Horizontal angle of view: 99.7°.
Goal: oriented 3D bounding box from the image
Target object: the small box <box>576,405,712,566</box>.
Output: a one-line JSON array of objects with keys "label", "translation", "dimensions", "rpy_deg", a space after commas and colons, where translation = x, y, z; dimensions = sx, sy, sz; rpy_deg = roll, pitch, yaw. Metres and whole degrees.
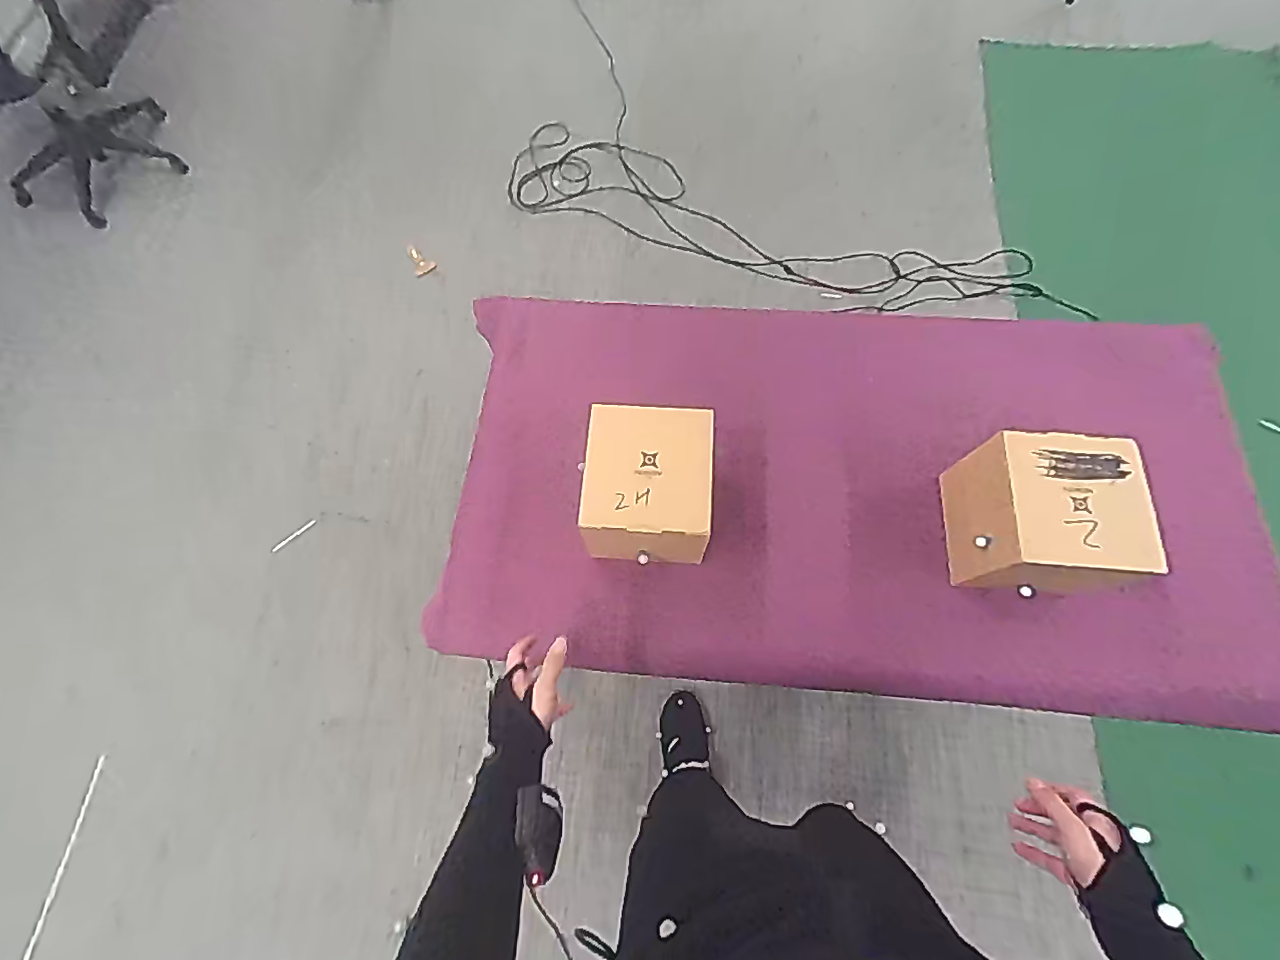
[{"label": "small box", "translation": [0.010, 0.013, 0.772], "dimensions": [0.168, 0.176, 0.179], "rpy_deg": [3, 69, 4]}]
